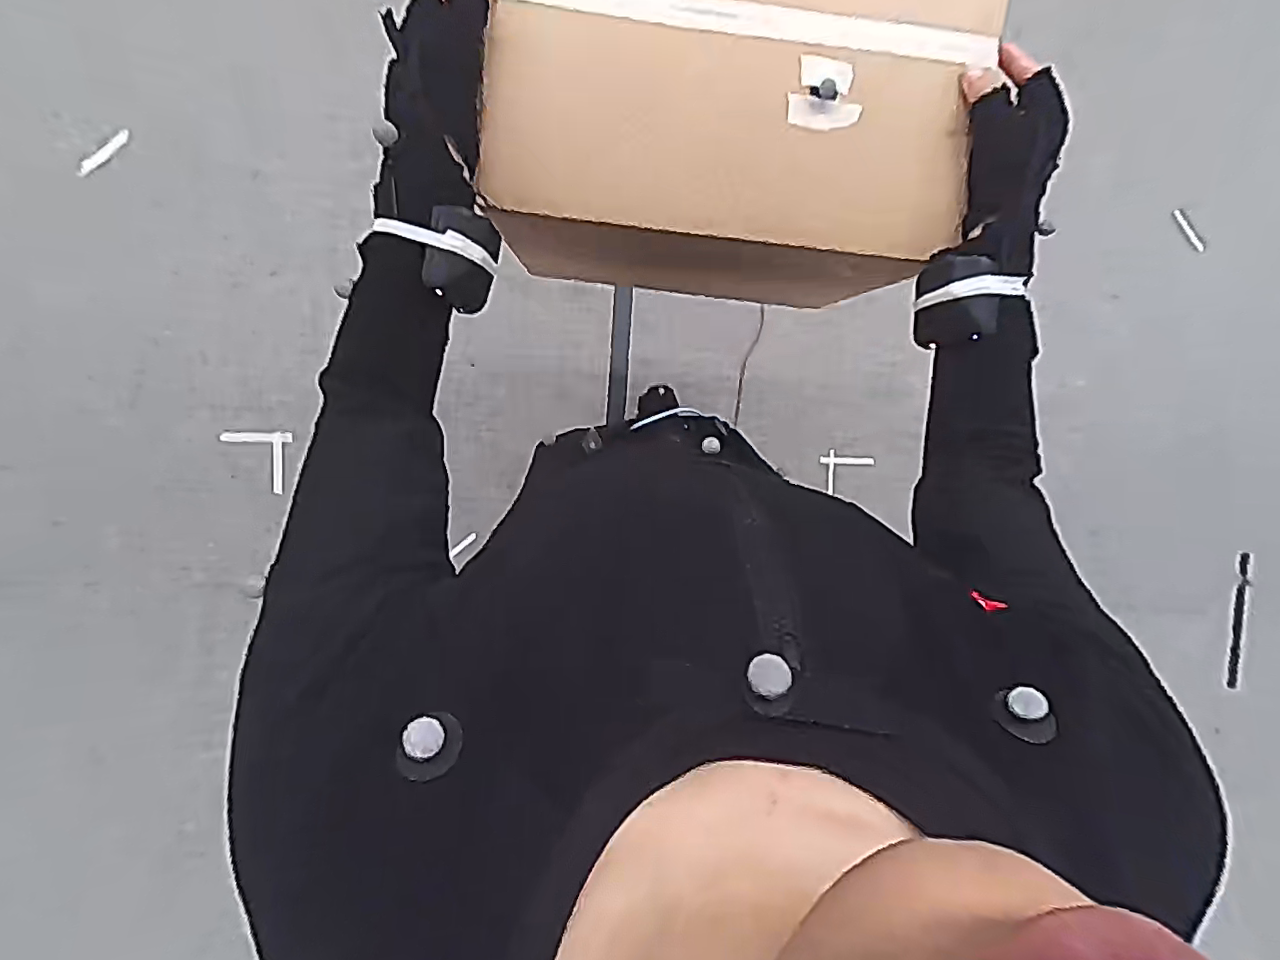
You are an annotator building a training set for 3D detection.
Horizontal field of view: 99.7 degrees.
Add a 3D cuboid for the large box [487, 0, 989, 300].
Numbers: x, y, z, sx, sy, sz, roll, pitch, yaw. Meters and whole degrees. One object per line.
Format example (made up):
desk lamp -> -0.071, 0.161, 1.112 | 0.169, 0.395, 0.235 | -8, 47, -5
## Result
large box -> 0.071, -0.390, 0.580 | 0.408, 0.320, 0.320 | 5, 101, -5
